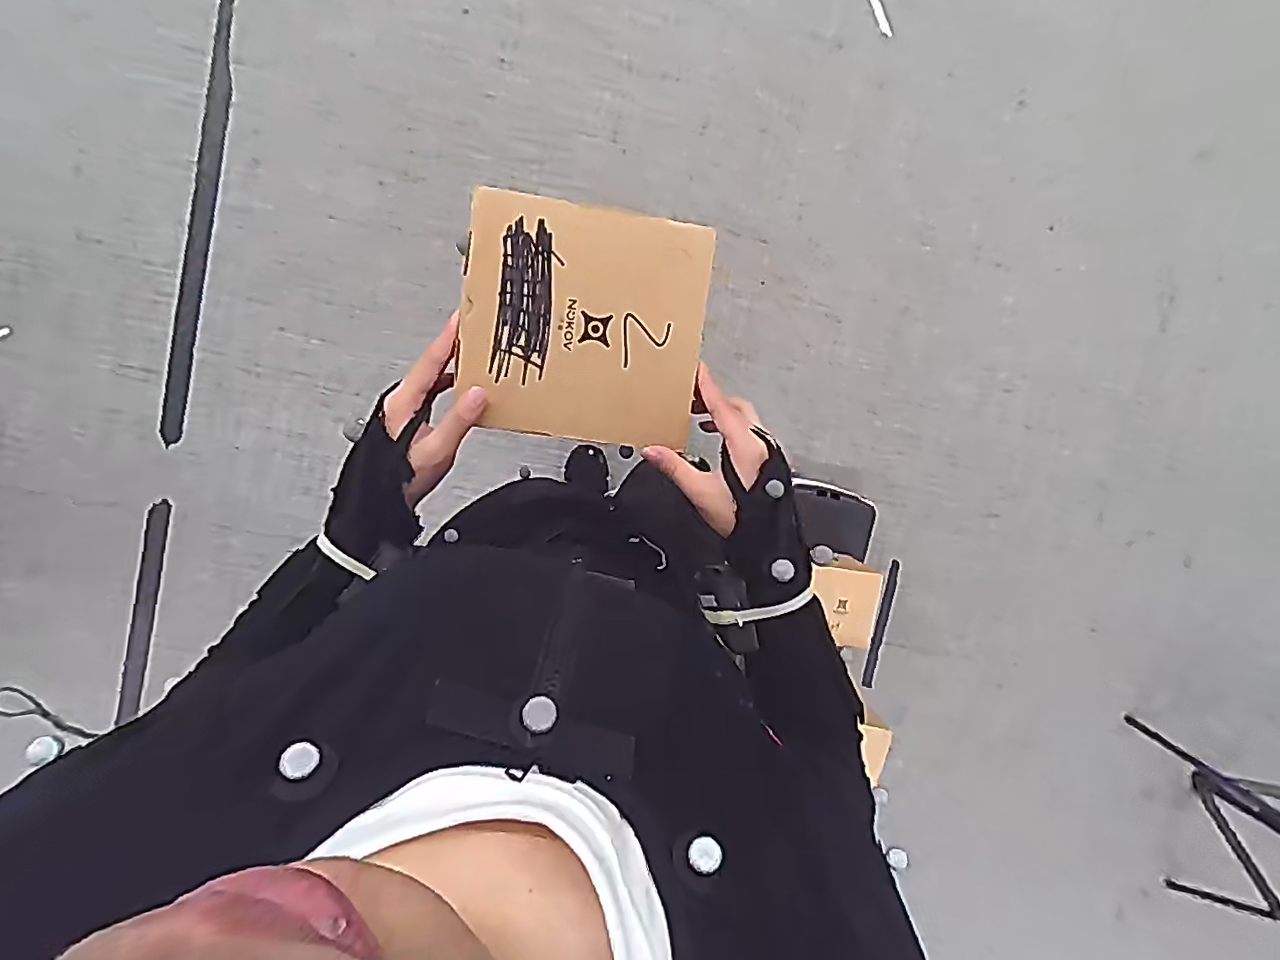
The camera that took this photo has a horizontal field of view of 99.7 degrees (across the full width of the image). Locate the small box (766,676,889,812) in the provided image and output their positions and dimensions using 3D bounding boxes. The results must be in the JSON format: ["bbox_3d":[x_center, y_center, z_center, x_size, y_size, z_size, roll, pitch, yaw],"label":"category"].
[{"bbox_3d":[0.378,0.540,1.125,0.168,0.176,0.179,15,94,-7],"label":"small box"}]
